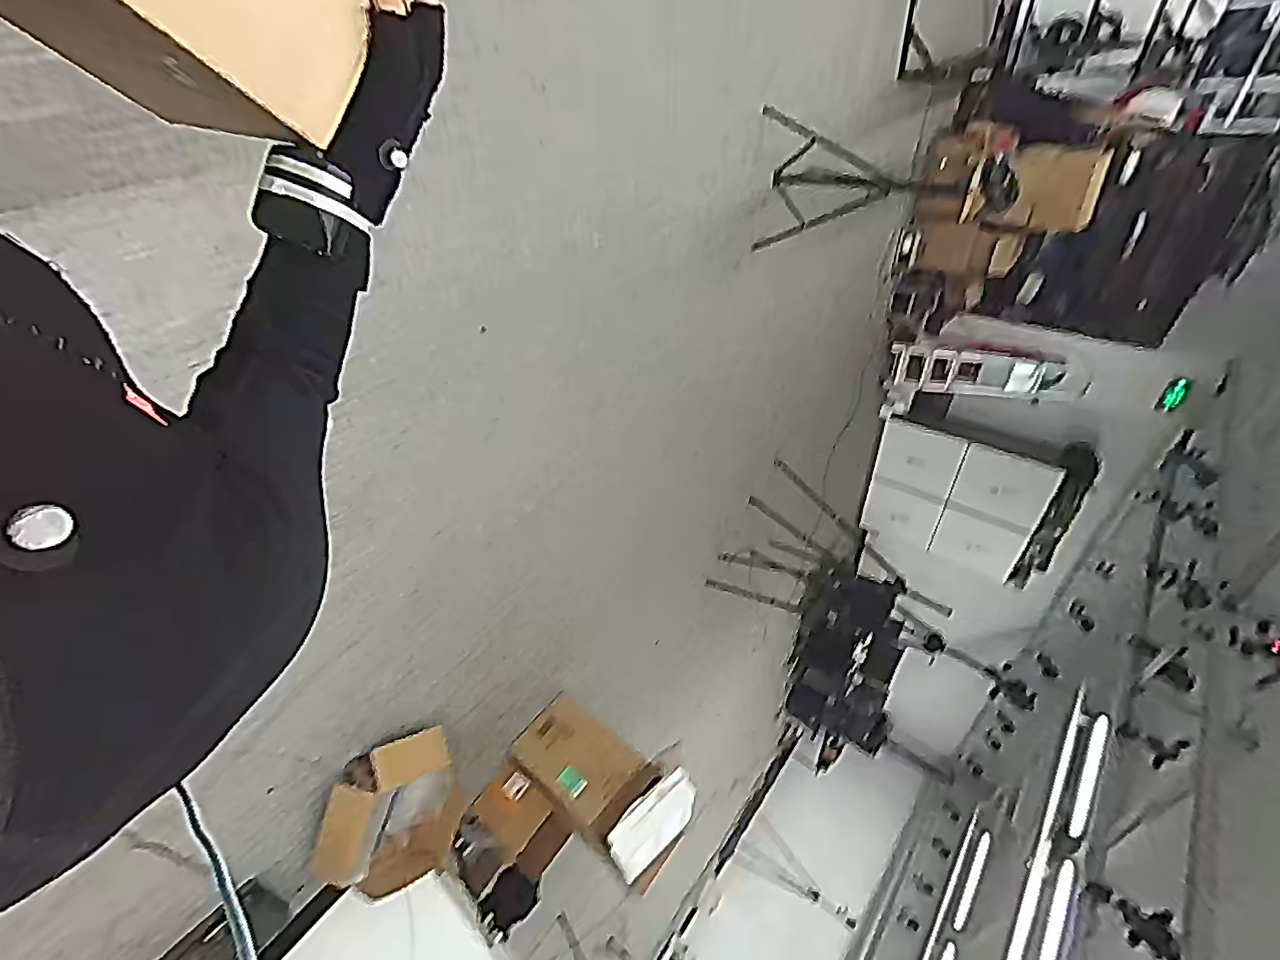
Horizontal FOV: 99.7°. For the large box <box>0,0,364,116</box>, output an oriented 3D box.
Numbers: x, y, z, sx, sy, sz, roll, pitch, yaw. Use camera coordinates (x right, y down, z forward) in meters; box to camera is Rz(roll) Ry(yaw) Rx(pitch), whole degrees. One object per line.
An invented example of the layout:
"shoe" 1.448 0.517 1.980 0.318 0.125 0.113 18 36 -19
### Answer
"large box" -0.385 -0.484 0.284 0.408 0.320 0.320 19 96 -61
